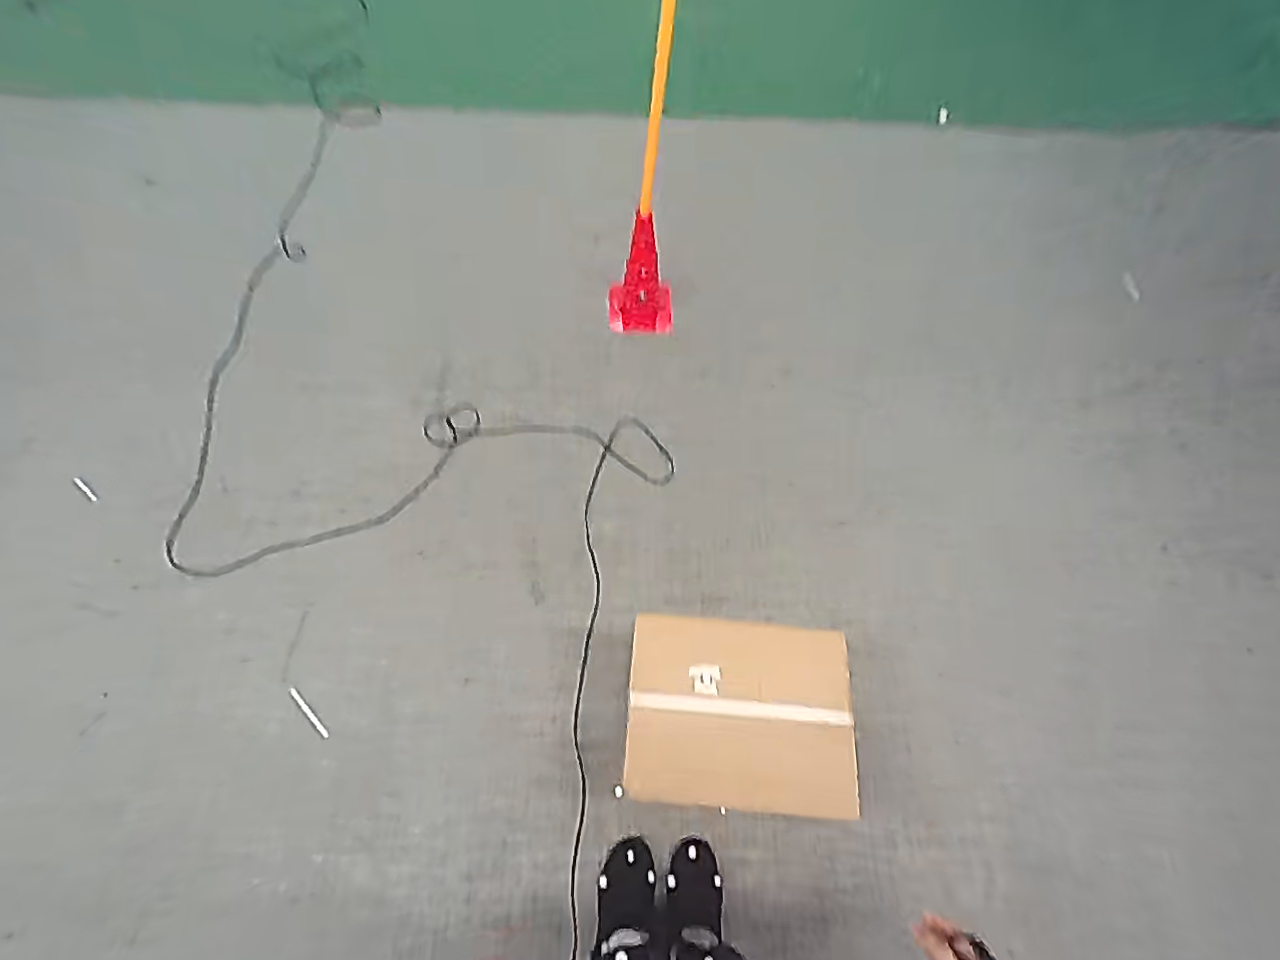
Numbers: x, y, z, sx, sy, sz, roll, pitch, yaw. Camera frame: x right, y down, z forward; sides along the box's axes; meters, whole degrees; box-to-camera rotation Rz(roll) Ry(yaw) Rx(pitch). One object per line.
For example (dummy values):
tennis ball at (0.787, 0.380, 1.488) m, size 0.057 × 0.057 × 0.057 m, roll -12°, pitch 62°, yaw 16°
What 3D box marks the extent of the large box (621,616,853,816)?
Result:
large box at (0.175, 0.480, 1.117) m, size 0.408 × 0.320 × 0.320 m, roll 5°, pitch 64°, yaw 1°
